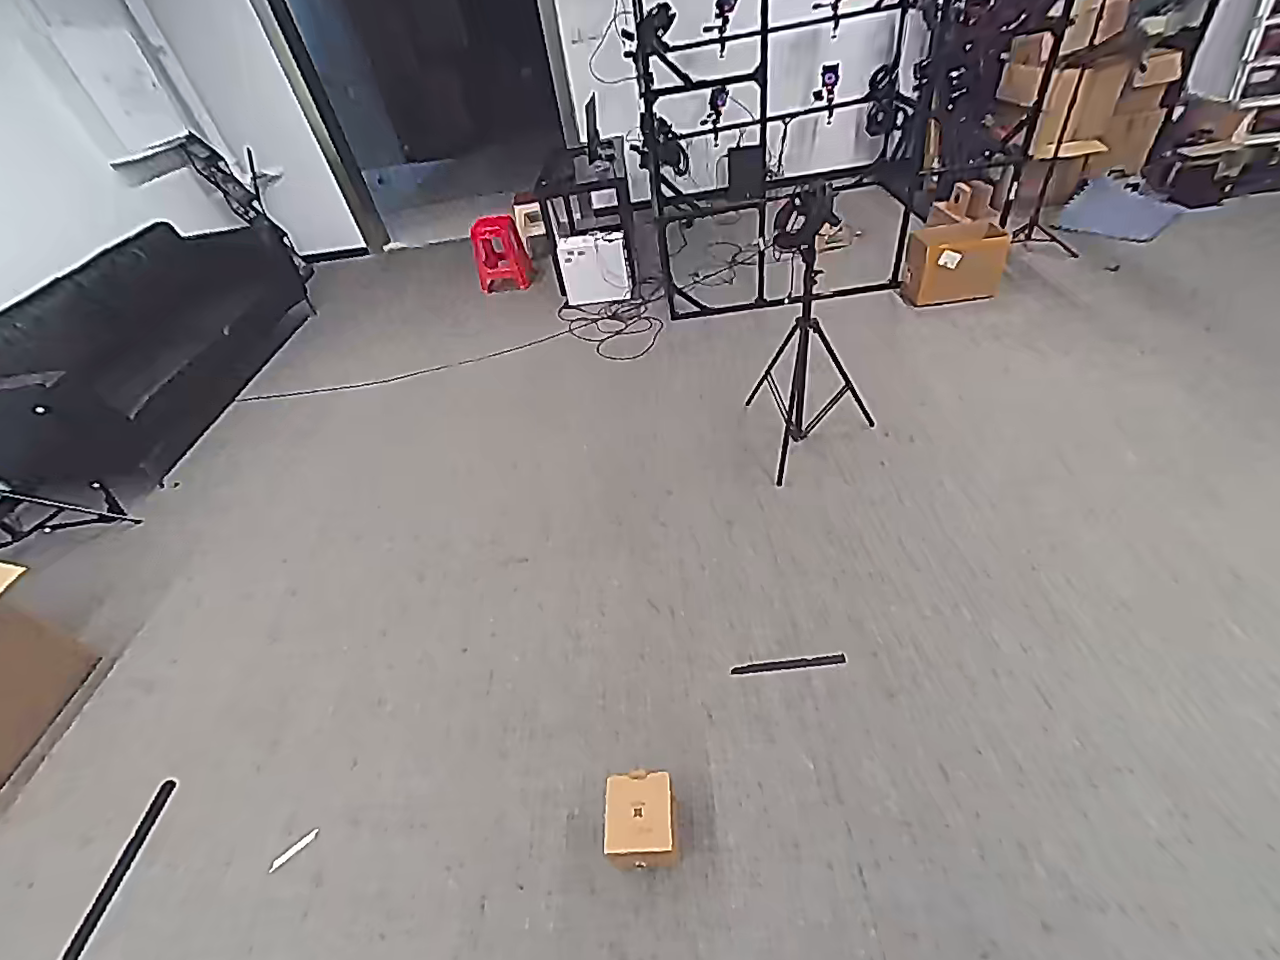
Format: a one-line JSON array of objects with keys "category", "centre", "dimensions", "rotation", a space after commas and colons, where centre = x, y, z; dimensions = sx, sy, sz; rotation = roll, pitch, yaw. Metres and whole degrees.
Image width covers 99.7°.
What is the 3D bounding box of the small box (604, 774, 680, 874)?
[{"category": "small box", "centre": [0.009, 0.874, 1.374], "dimensions": [0.168, 0.176, 0.179], "rotation": [-7, 42, 6]}]
